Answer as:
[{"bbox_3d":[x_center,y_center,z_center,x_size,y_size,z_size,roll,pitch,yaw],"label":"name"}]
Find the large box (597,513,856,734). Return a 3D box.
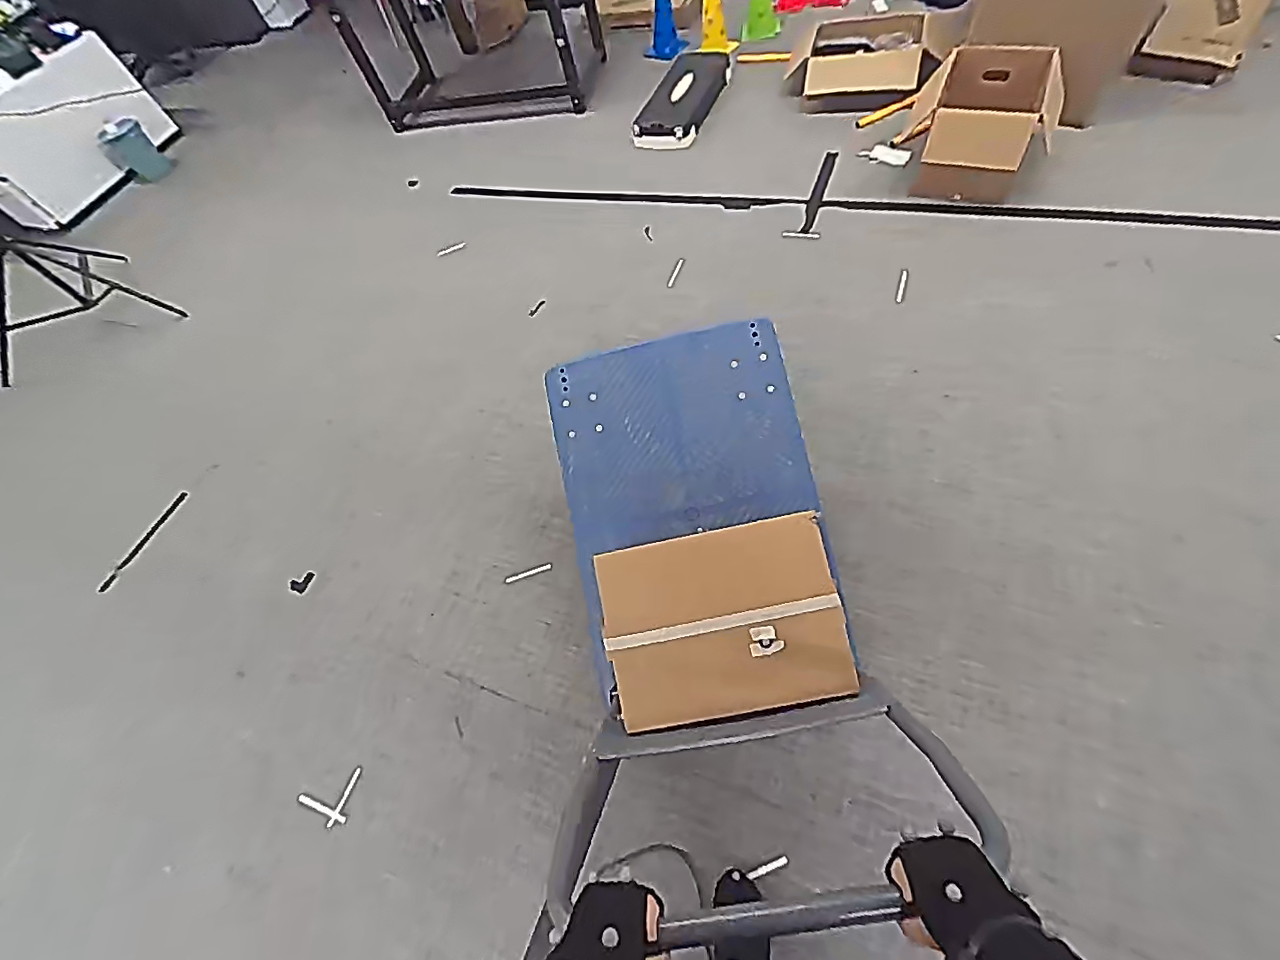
[{"bbox_3d":[0.158,0.274,1.102,0.408,0.320,0.320,-13,82,4],"label":"large box"}]
